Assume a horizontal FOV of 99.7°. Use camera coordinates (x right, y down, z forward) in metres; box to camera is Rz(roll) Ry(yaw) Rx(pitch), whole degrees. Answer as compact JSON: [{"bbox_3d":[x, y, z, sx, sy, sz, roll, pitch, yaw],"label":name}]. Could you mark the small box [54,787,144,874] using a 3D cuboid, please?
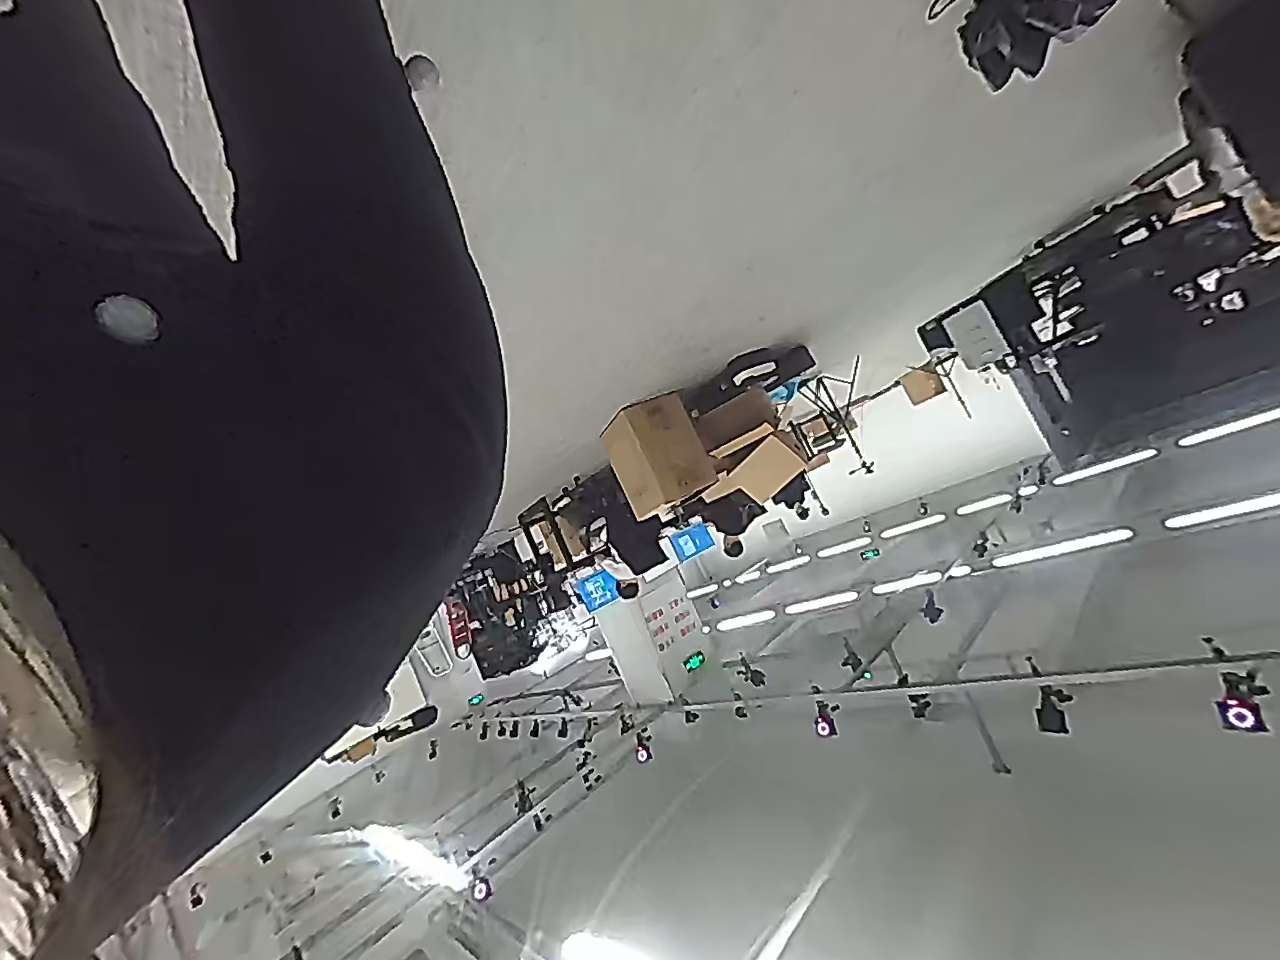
[{"bbox_3d":[-1.763,1.135,1.763,0.179,0.176,0.168,-21,173,-44],"label":"small box"}]
